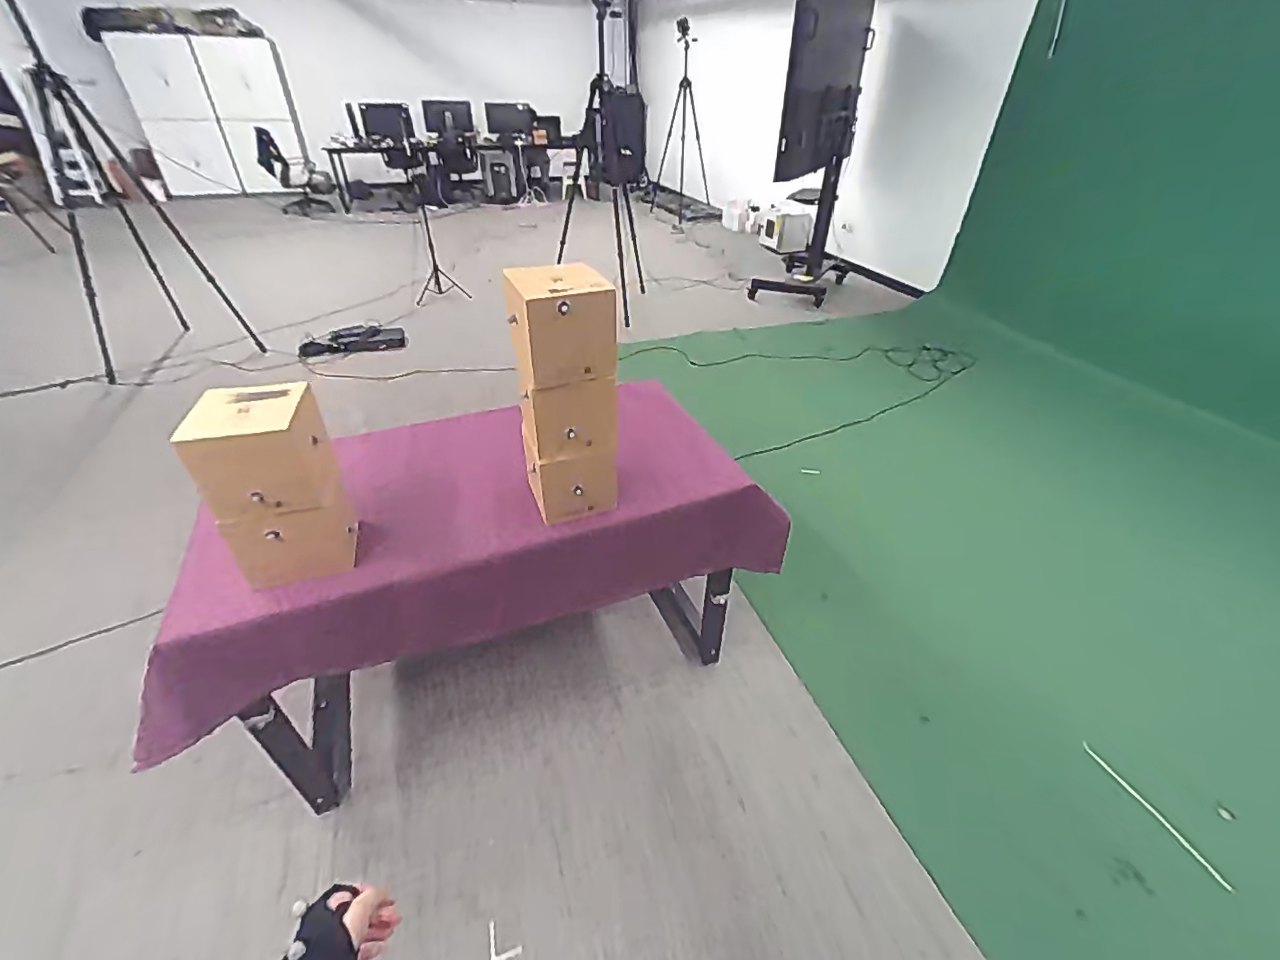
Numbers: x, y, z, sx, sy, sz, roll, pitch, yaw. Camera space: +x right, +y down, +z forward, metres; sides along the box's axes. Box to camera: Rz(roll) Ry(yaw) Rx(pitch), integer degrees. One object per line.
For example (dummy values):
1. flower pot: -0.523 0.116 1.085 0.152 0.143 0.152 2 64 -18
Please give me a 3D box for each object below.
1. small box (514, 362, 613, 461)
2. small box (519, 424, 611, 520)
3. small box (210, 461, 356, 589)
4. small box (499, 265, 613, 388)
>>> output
1. small box: -0.161 -0.163 1.122 0.168 0.176 0.179 -13 40 -18
2. small box: -0.166 -0.027 1.213 0.168 0.176 0.179 -13 39 -18
3. small box: -0.674 0.088 1.046 0.179 0.176 0.168 -10 38 -16
4. small box: -0.157 -0.293 1.021 0.168 0.176 0.179 -16 40 -20
